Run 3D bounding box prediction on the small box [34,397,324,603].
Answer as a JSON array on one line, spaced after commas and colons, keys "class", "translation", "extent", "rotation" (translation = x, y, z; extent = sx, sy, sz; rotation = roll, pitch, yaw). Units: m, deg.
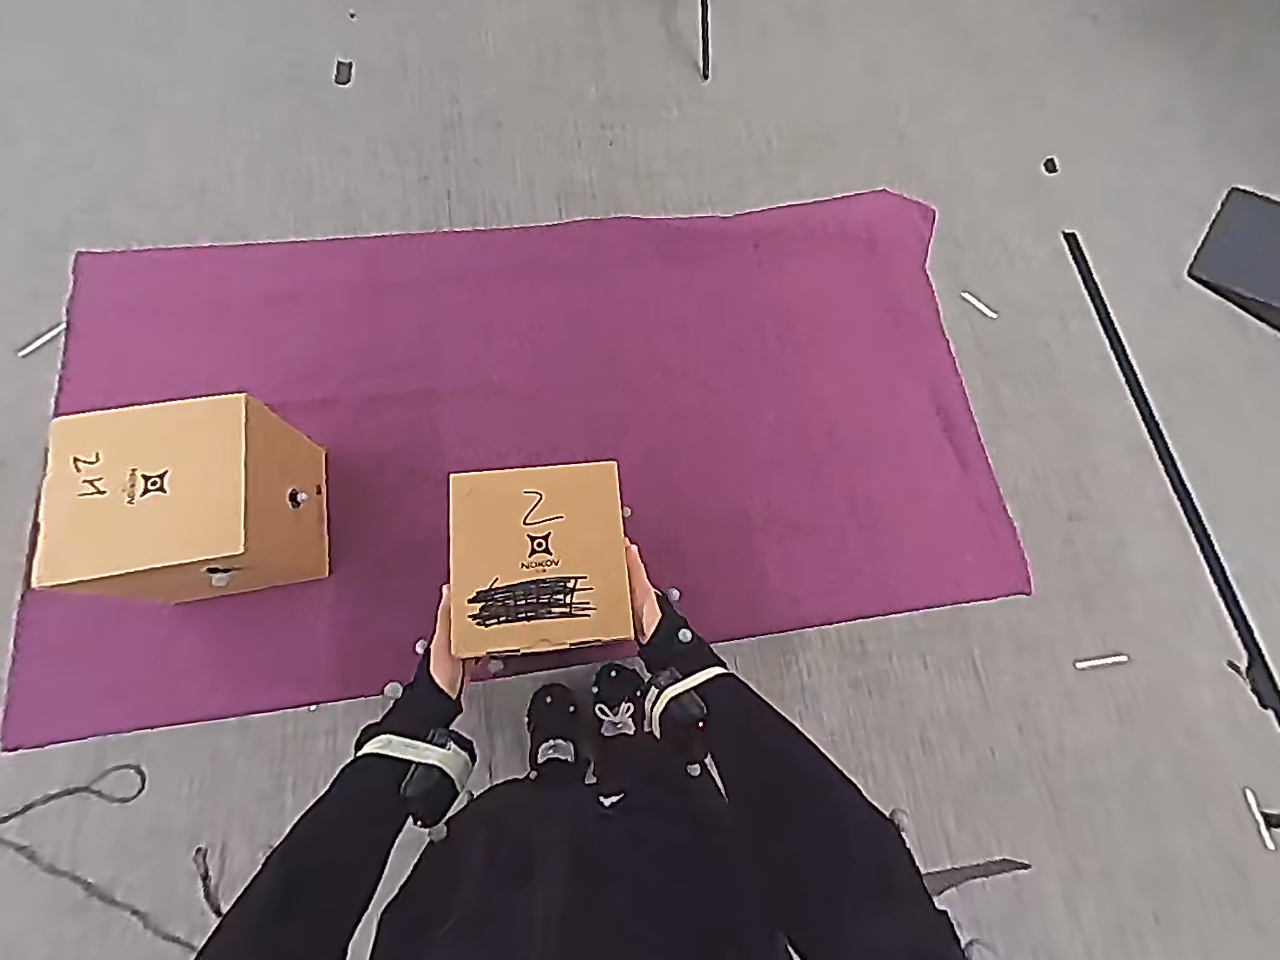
[{"class": "small box", "translation": [-0.462, 0.030, 0.578], "extent": [0.179, 0.176, 0.168], "rotation": [-9, 73, -7]}]
